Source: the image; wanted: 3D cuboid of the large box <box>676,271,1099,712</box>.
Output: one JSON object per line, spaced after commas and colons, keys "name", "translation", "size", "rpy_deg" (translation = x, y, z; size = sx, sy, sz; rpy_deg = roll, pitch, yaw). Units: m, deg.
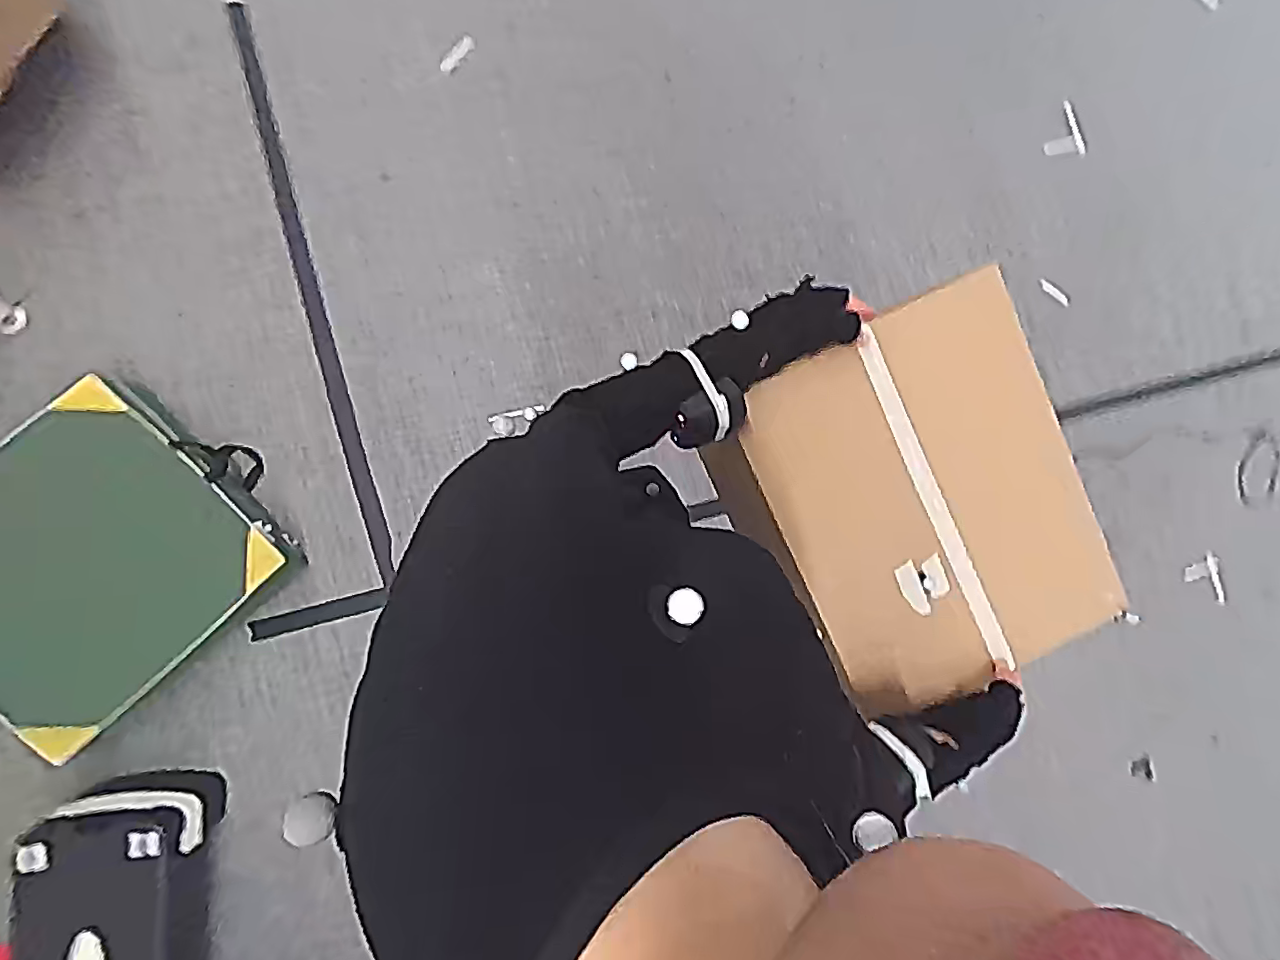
{"name": "large box", "translation": [0.286, 0.005, 0.731], "size": [0.320, 0.320, 0.408], "rpy_deg": [-26, 97, 0]}
